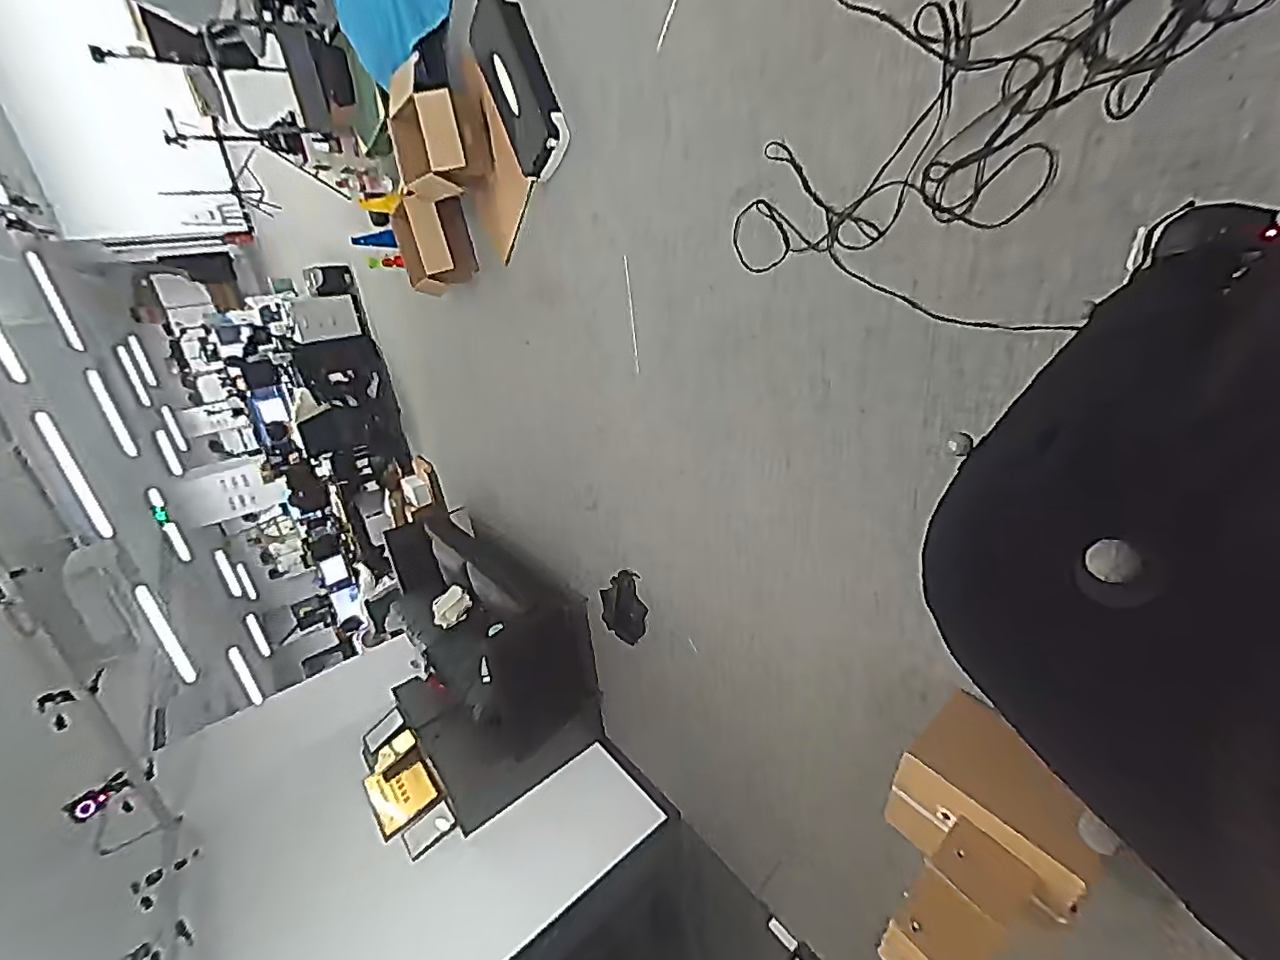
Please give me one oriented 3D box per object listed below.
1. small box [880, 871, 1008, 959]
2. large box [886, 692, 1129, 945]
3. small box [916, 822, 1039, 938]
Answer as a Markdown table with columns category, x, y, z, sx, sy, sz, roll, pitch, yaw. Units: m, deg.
| category | x | y | z | sx | sy | sz | roll | pitch | yaw |
| --- | --- | --- | --- | --- | --- | --- | --- | --- | --- |
| small box | 0.659 | 1.013 | 1.175 | 0.179 | 0.176 | 0.168 | 31 | 134 | 44 |
| large box | 0.943 | 0.856 | 1.423 | 0.408 | 0.320 | 0.320 | 31 | 132 | 44 |
| small box | 0.781 | 0.944 | 1.260 | 0.179 | 0.176 | 0.168 | 30 | 133 | 42 |
